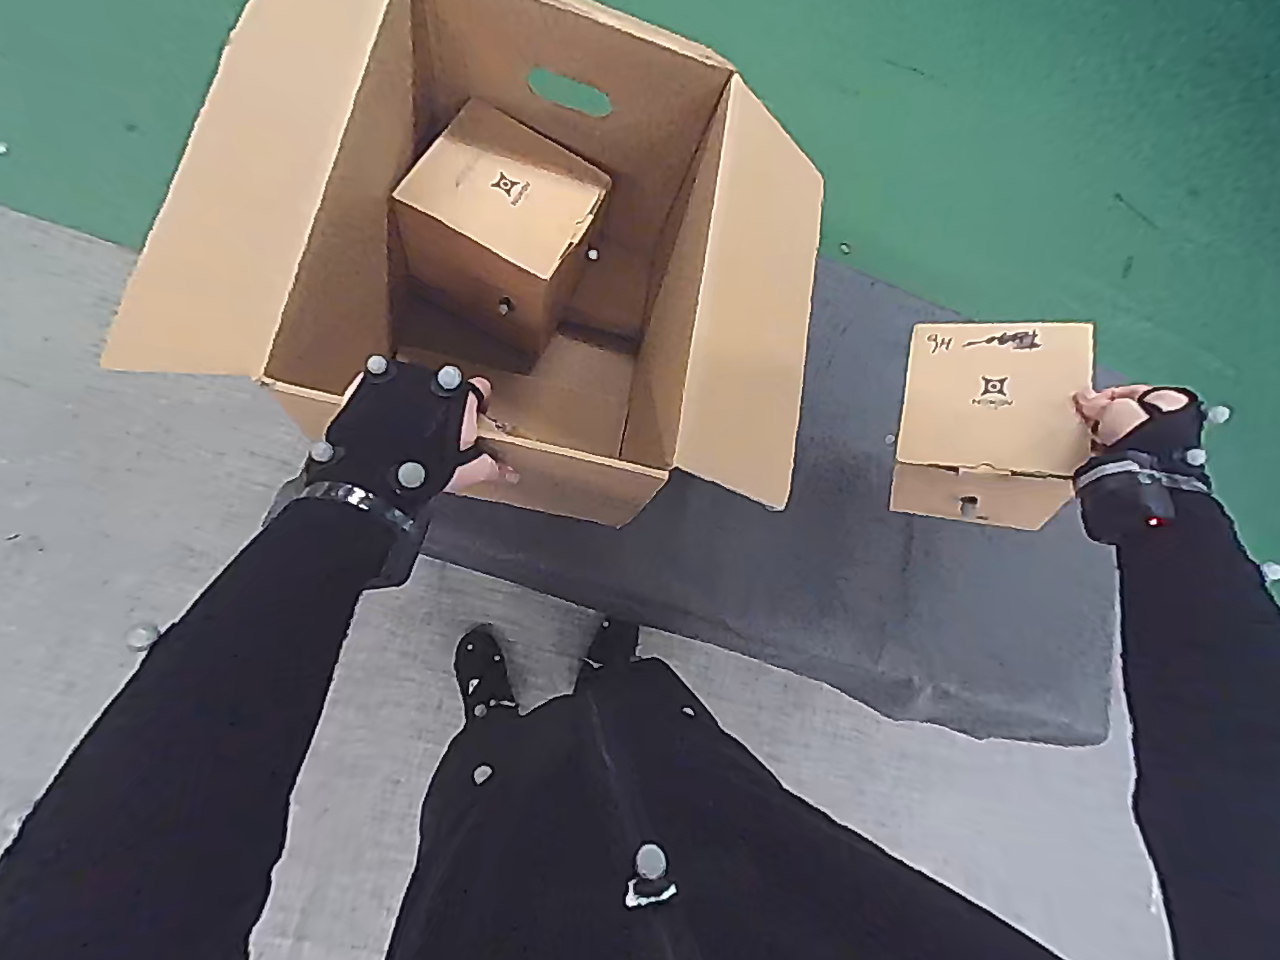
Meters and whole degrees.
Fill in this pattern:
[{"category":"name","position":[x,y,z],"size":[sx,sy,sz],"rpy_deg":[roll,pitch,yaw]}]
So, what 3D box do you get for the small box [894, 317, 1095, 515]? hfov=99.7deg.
[{"category":"small box","position":[0.401,-0.070,0.637],"size":[0.168,0.176,0.179],"rpy_deg":[9,74,25]}]
